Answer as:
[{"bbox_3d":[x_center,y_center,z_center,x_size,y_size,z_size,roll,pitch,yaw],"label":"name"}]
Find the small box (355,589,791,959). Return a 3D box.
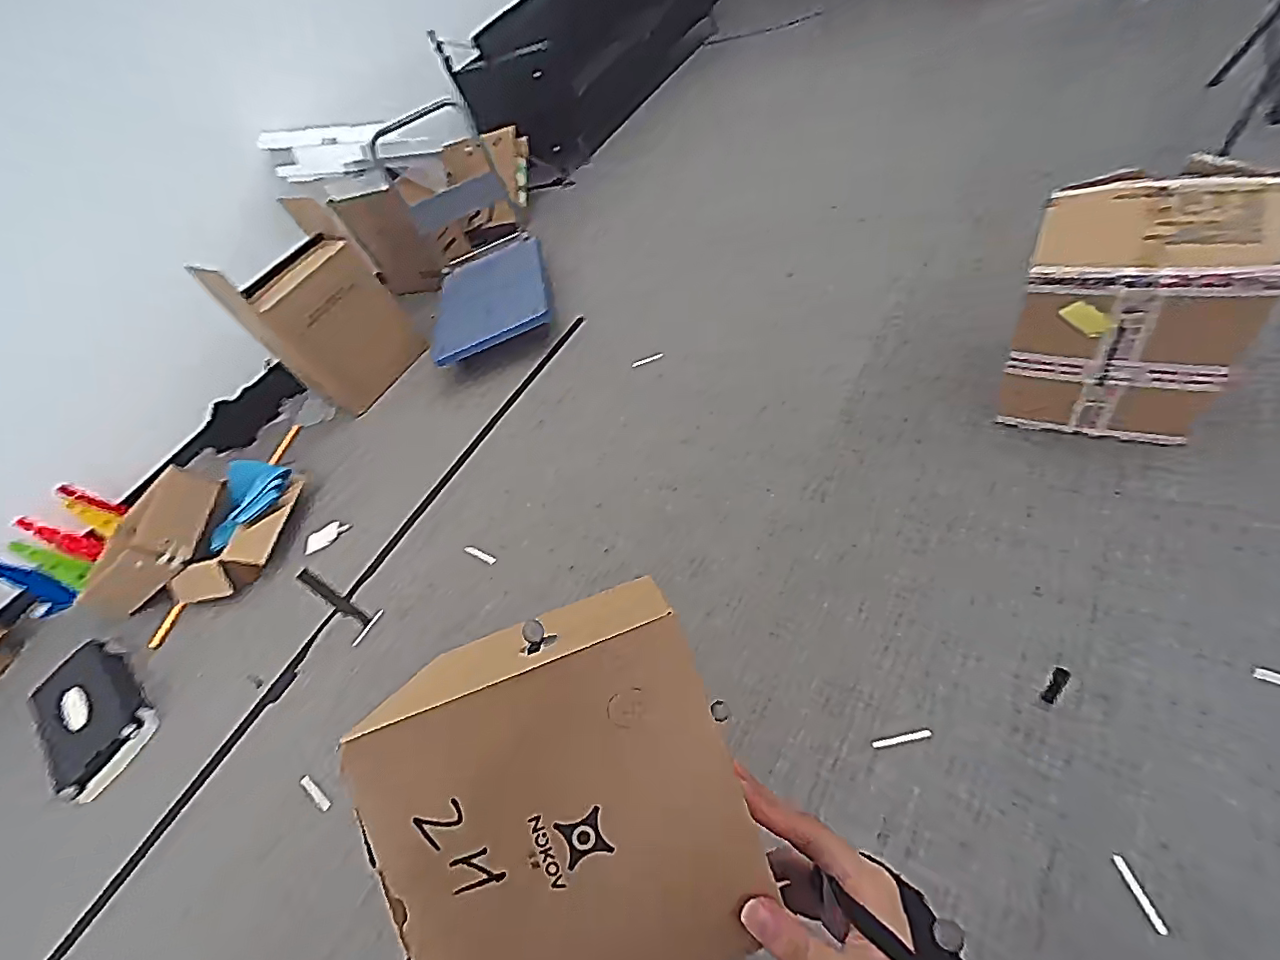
[{"bbox_3d":[-0.036,0.180,0.343,0.179,0.176,0.168,-20,87,-4],"label":"small box"}]
